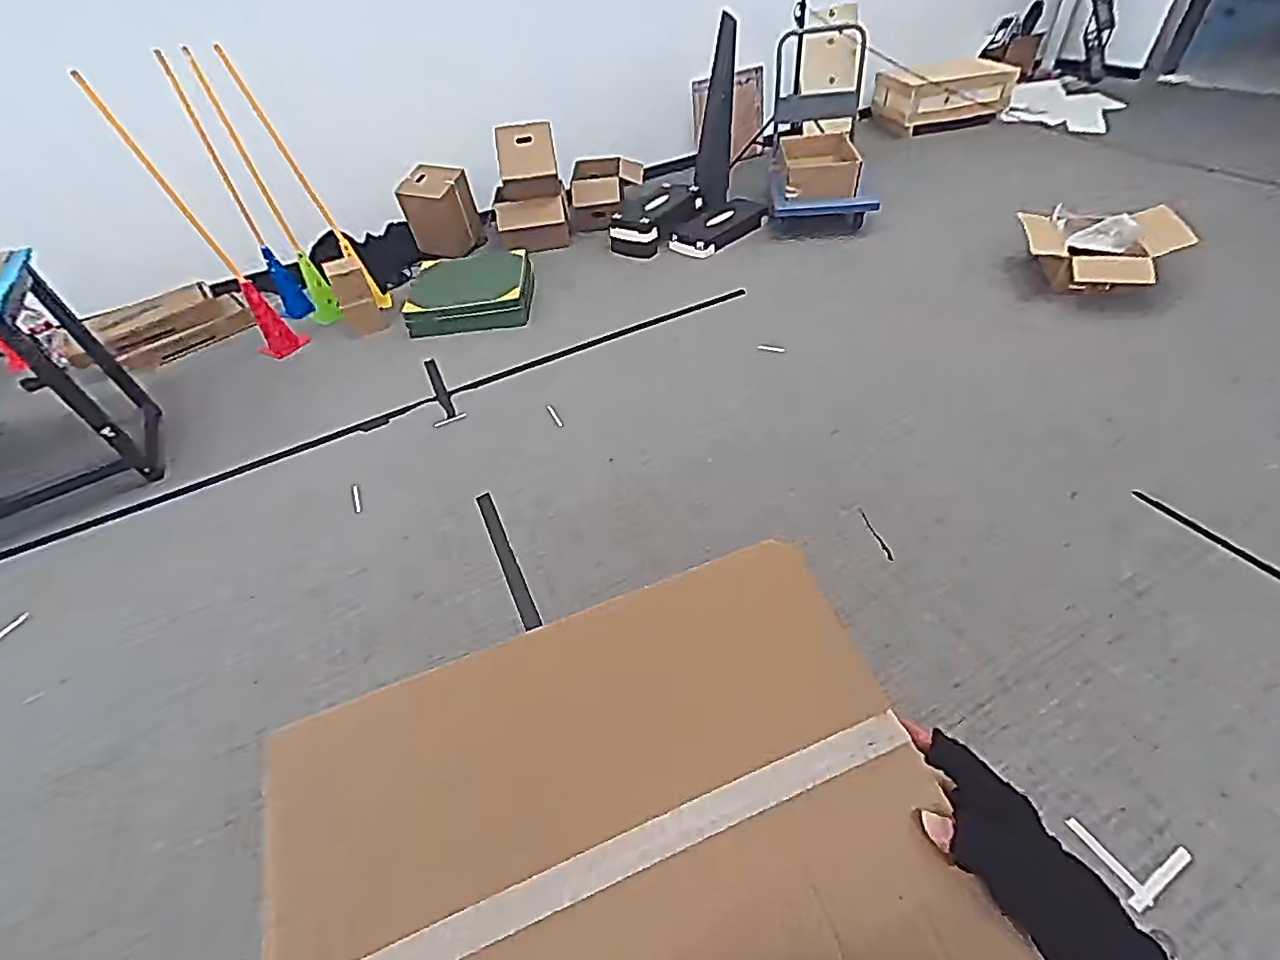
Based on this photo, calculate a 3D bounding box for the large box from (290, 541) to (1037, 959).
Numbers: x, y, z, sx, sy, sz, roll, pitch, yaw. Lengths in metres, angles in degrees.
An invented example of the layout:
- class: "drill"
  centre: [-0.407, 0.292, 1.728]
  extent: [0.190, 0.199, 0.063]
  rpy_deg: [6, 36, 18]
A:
- class: "large box"
  centre: [-0.005, 0.315, 0.465]
  extent: [0.408, 0.320, 0.320]
  rpy_deg: [-20, 60, -10]
